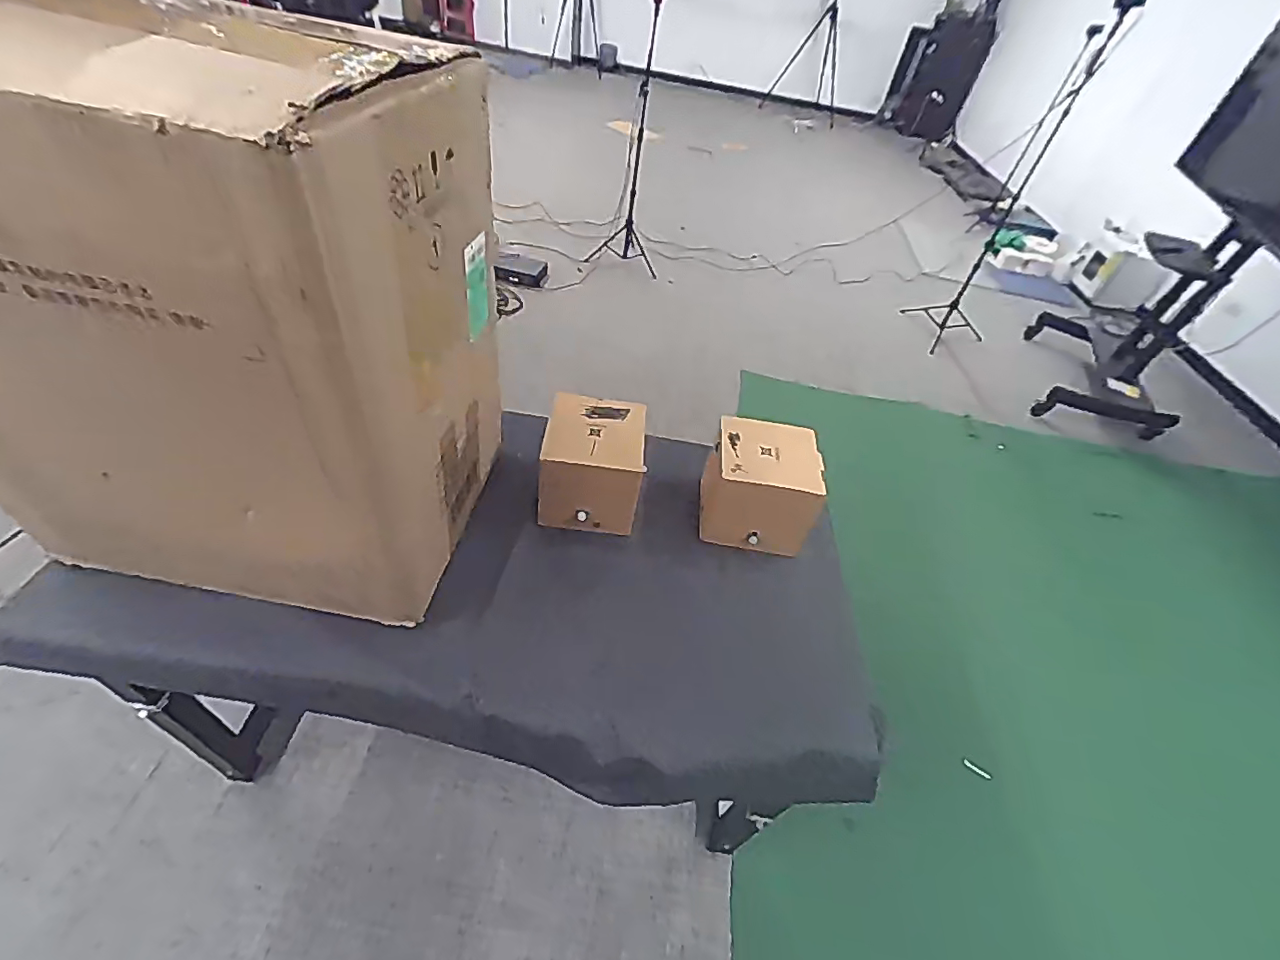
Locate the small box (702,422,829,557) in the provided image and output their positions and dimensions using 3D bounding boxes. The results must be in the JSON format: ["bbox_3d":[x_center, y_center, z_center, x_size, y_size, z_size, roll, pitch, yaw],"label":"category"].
[{"bbox_3d":[0.220,0.021,0.988,0.179,0.176,0.168,10,45,-2],"label":"small box"}]
